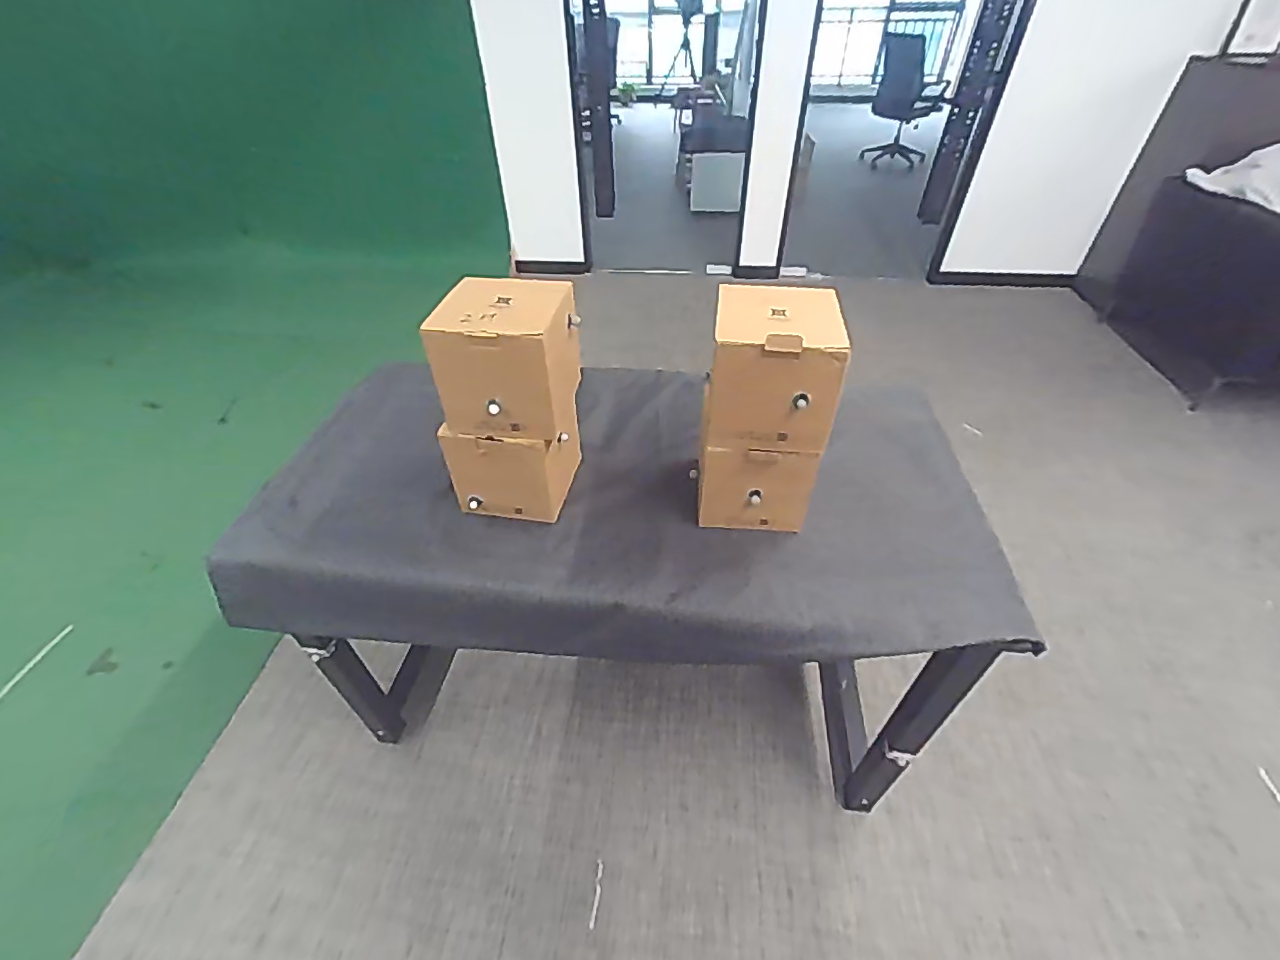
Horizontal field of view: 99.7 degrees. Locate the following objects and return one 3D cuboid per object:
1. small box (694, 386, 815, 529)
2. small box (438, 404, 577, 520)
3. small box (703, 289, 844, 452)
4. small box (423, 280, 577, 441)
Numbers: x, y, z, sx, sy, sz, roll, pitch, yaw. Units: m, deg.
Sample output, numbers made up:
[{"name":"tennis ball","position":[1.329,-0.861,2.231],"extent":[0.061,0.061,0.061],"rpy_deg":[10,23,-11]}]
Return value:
[{"name":"small box","position":[0.178,-0.036,0.887],"extent":[0.168,0.176,0.179],"rpy_deg":[3,43,4]},{"name":"small box","position":[-0.208,-0.053,0.911],"extent":[0.168,0.176,0.179],"rpy_deg":[6,42,7]},{"name":"small box","position":[0.181,-0.157,0.778],"extent":[0.168,0.176,0.179],"rpy_deg":[5,42,5]},{"name":"small box","position":[-0.192,-0.180,0.806],"extent":[0.168,0.176,0.179],"rpy_deg":[4,42,6]}]
